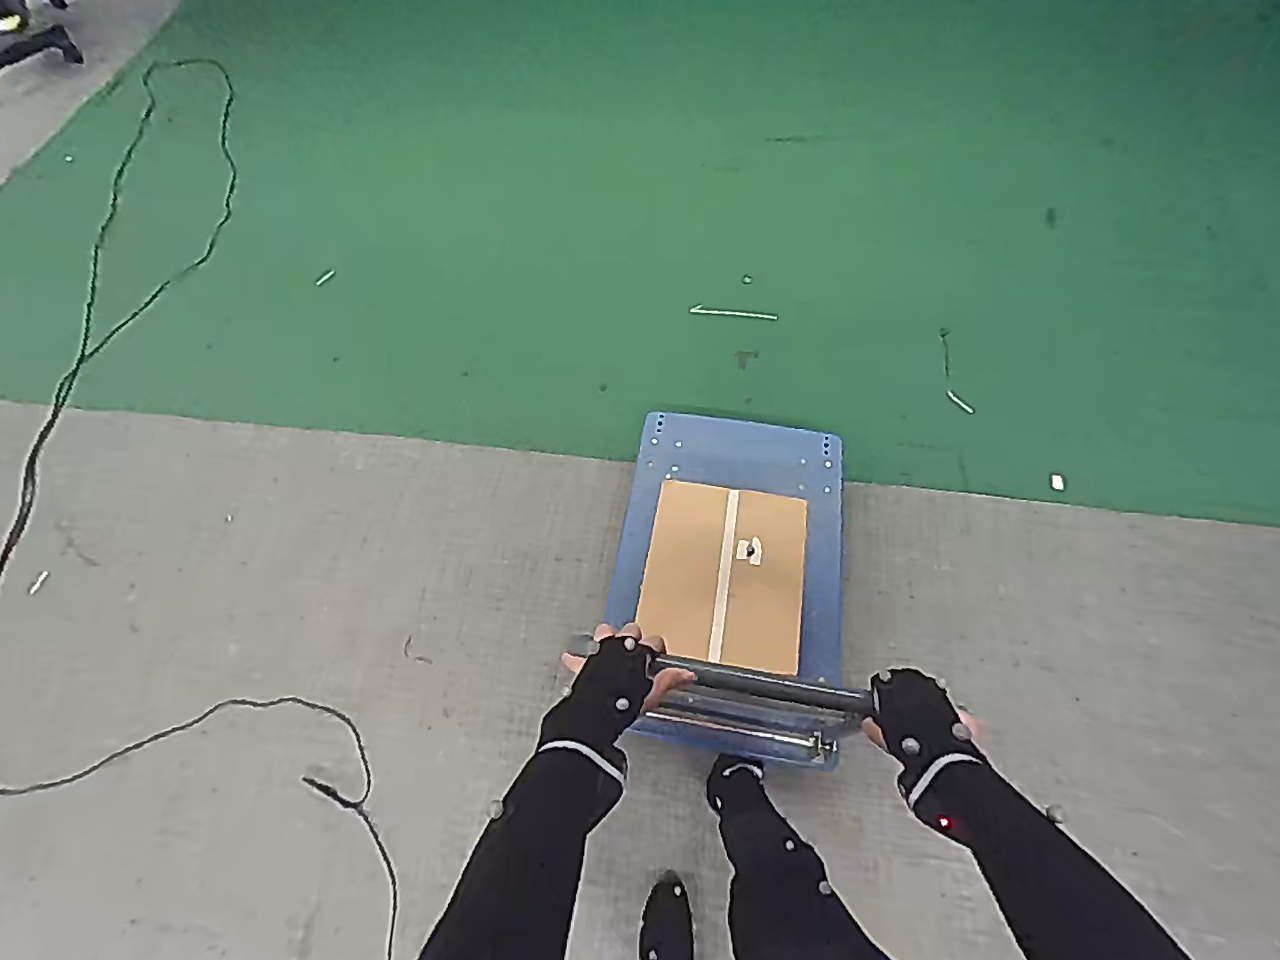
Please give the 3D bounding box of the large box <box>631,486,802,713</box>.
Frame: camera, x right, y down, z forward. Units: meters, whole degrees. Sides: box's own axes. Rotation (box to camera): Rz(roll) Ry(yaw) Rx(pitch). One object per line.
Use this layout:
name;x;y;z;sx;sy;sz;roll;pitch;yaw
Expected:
large box;0.171;0.274;1.212;0.320;0.320;0.408;8;62;6
